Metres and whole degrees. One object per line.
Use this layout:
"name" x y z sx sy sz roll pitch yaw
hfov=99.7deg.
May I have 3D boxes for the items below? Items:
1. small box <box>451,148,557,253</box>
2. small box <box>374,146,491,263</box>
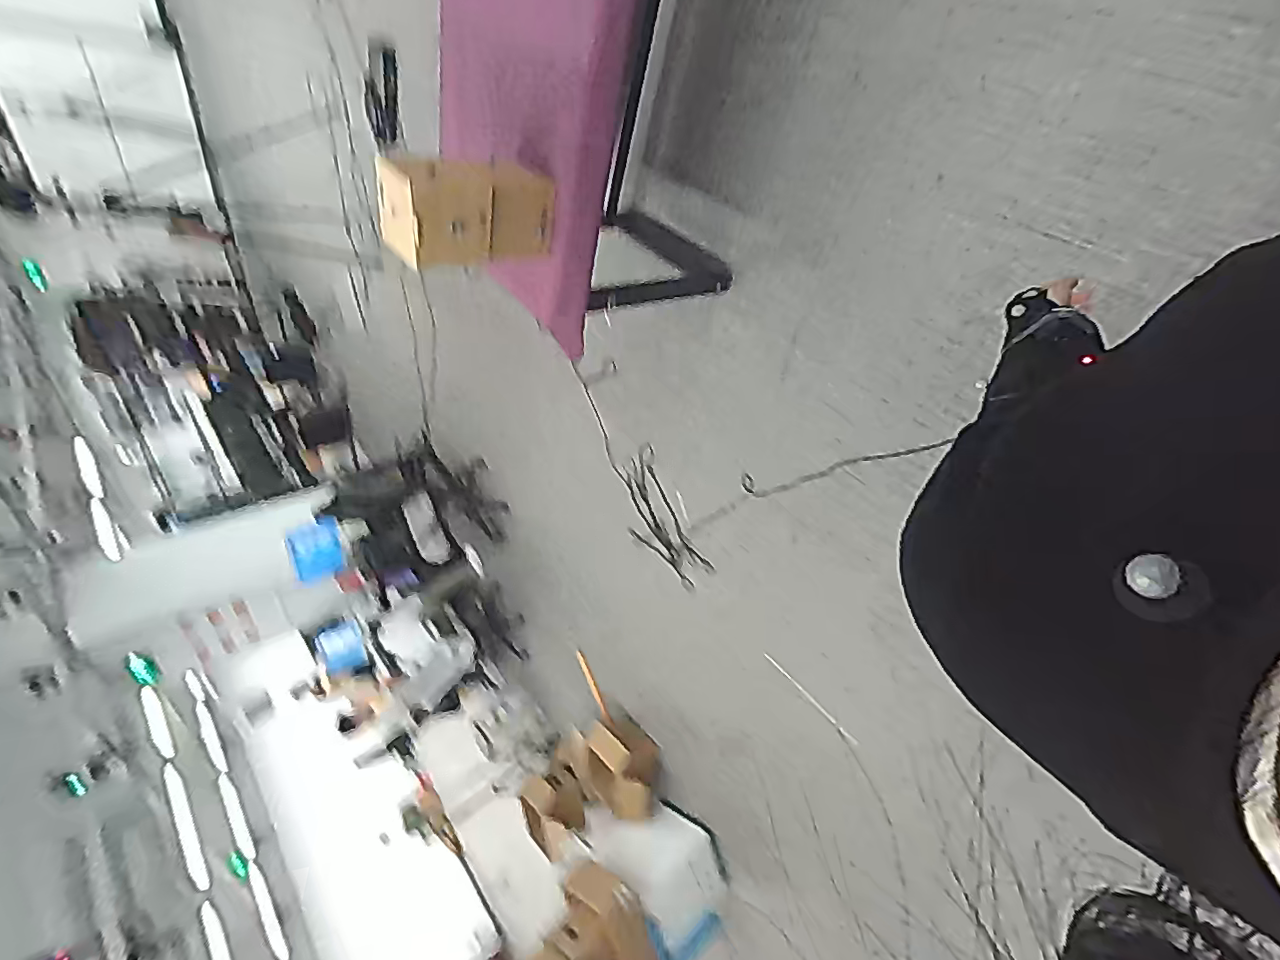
"small box" -0.313 -0.634 1.232 0.179 0.176 0.168 43 137 28
"small box" -0.426 -0.577 1.129 0.179 0.176 0.168 44 137 27
